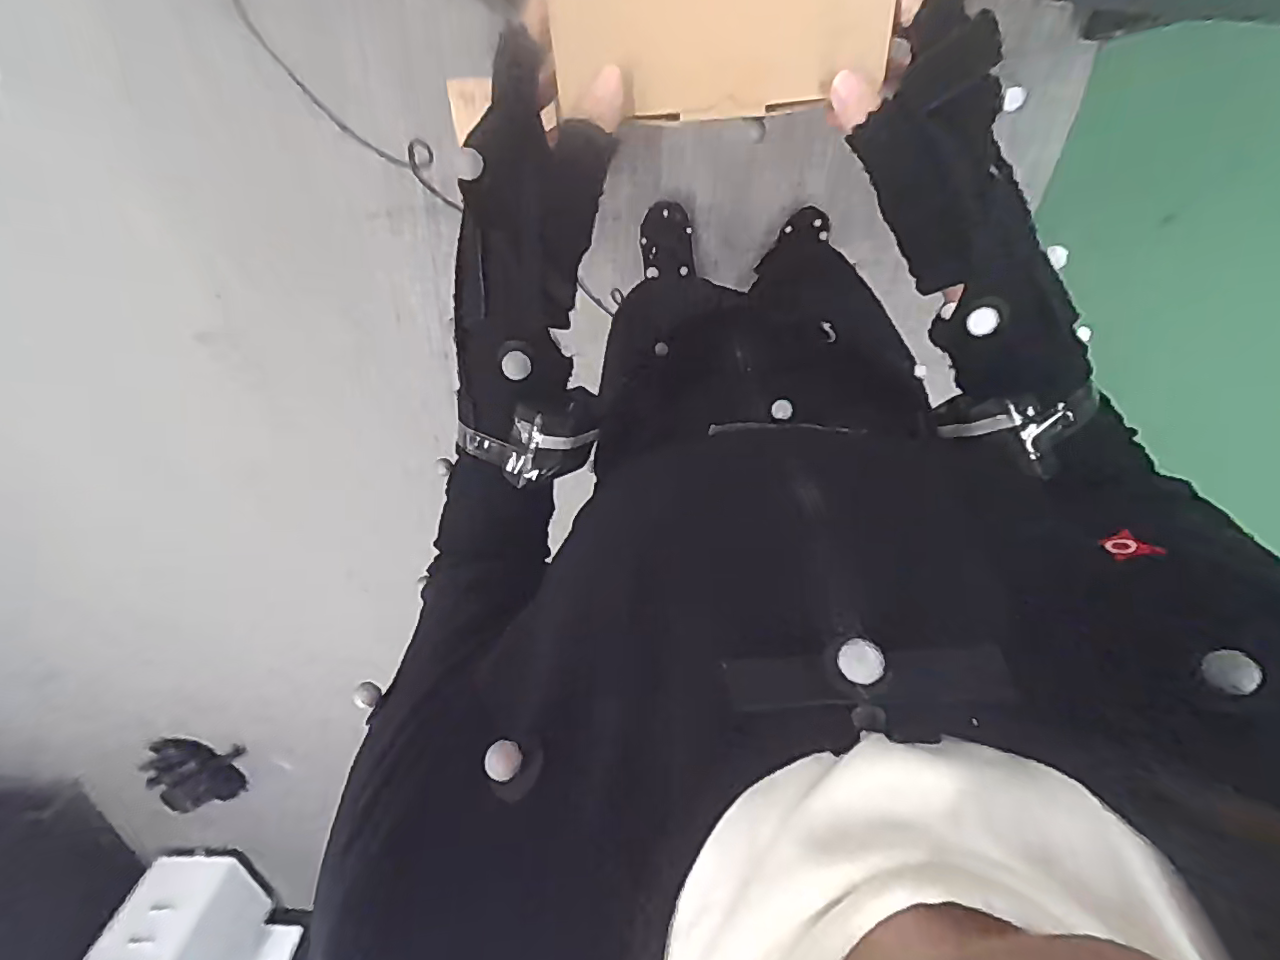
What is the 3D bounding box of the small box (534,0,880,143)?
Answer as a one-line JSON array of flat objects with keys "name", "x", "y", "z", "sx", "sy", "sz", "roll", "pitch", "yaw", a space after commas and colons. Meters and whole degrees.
[{"name": "small box", "x": 0.025, "y": -0.298, "z": 0.302, "sx": 0.168, "sy": 0.176, "sz": 0.179, "roll": -7, "pitch": 121, "yaw": 0}]
